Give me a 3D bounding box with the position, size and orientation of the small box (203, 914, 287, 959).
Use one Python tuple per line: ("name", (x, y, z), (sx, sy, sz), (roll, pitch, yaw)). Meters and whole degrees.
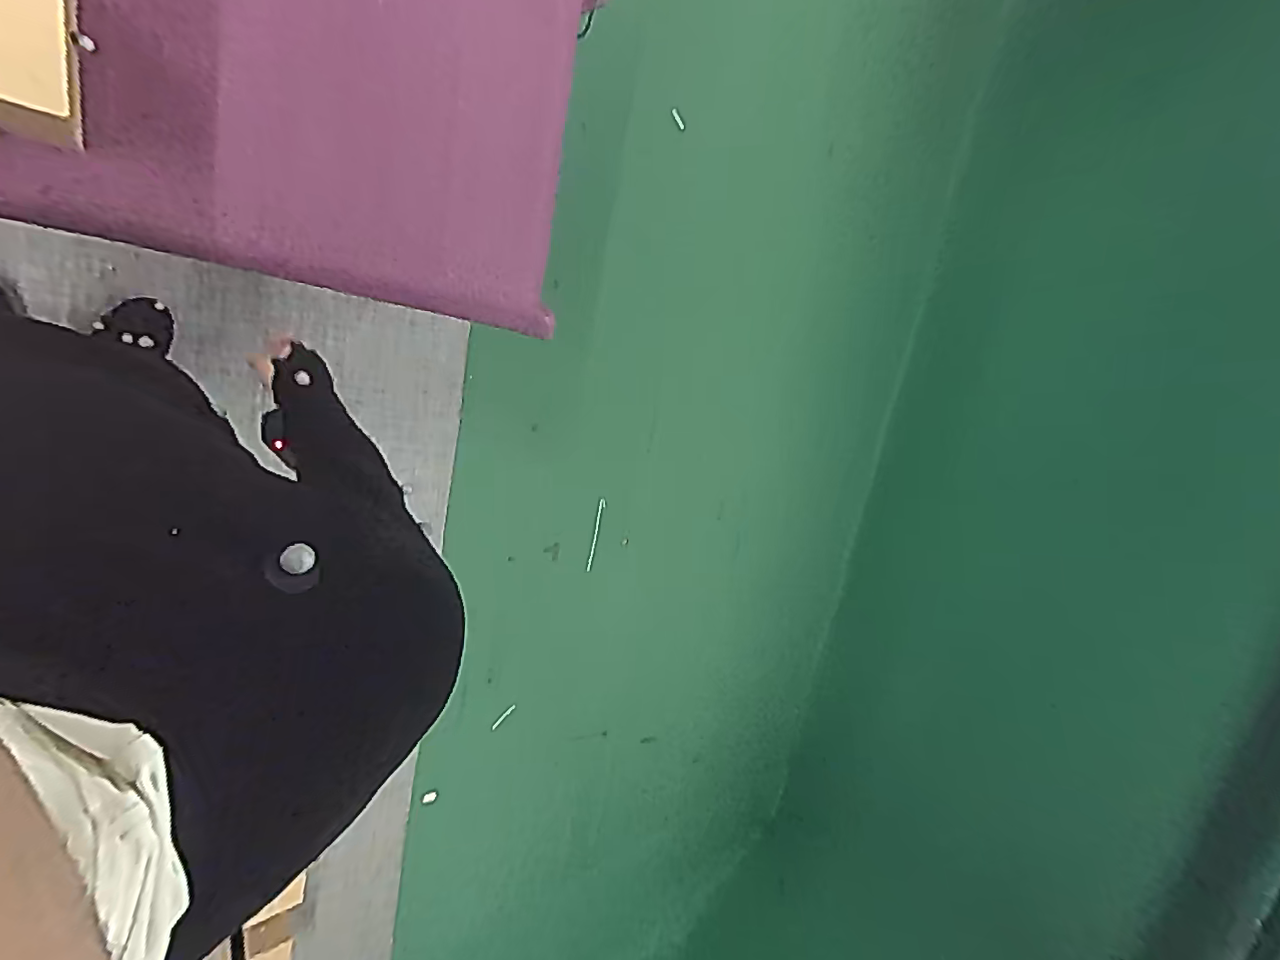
("small box", (-1.204, 1.450, 1.645), (0.179, 0.176, 0.168), (4, 103, -45))
